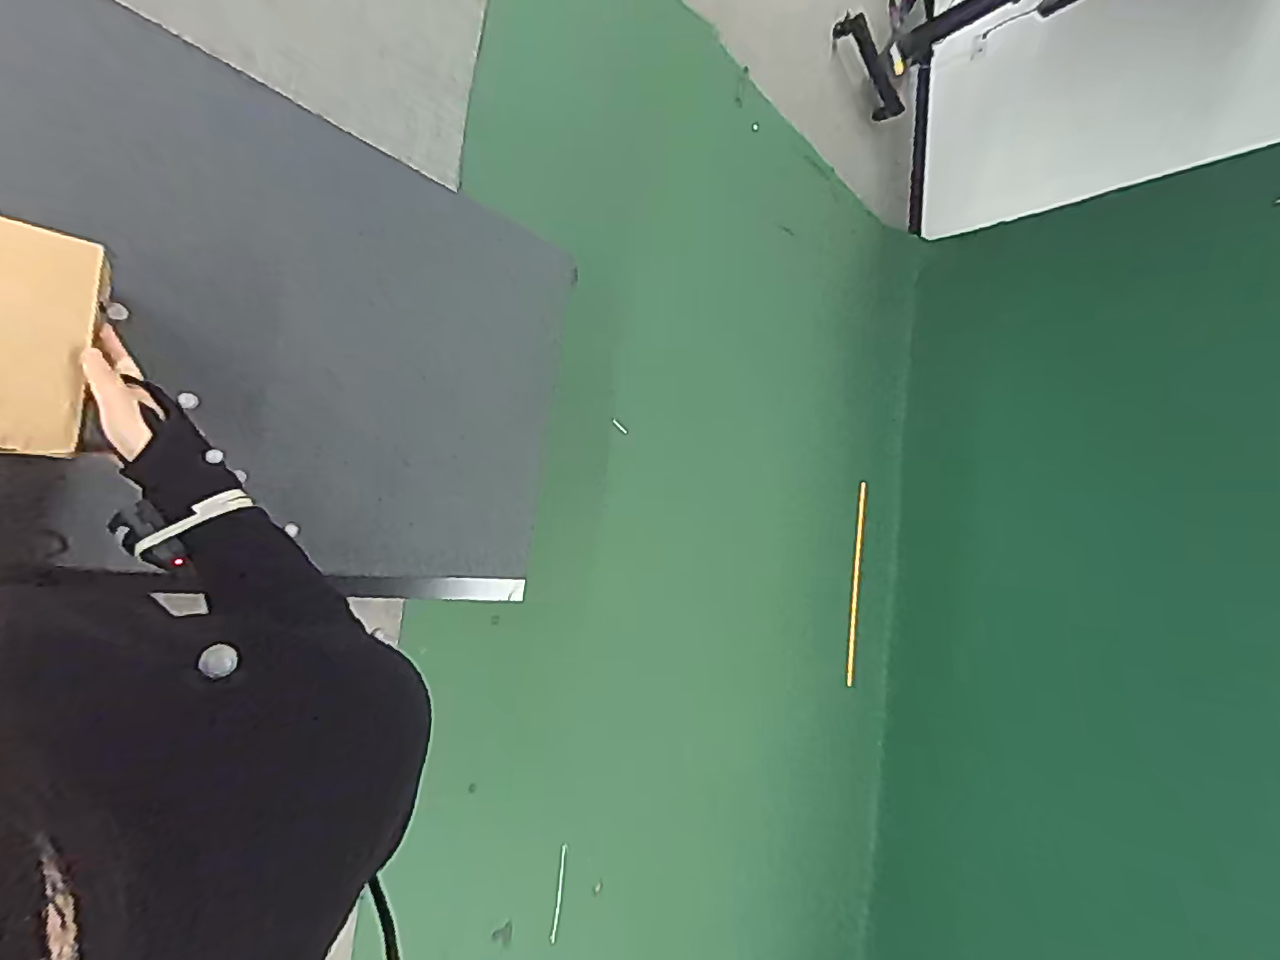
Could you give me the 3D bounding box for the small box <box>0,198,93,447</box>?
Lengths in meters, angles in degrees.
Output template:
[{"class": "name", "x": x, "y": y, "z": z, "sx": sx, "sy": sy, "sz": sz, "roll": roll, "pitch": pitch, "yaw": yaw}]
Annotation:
[{"class": "small box", "x": -0.550, "y": -0.123, "z": 0.417, "sx": 0.168, "sy": 0.176, "sz": 0.179, "roll": 8, "pitch": 87, "yaw": -44}]
